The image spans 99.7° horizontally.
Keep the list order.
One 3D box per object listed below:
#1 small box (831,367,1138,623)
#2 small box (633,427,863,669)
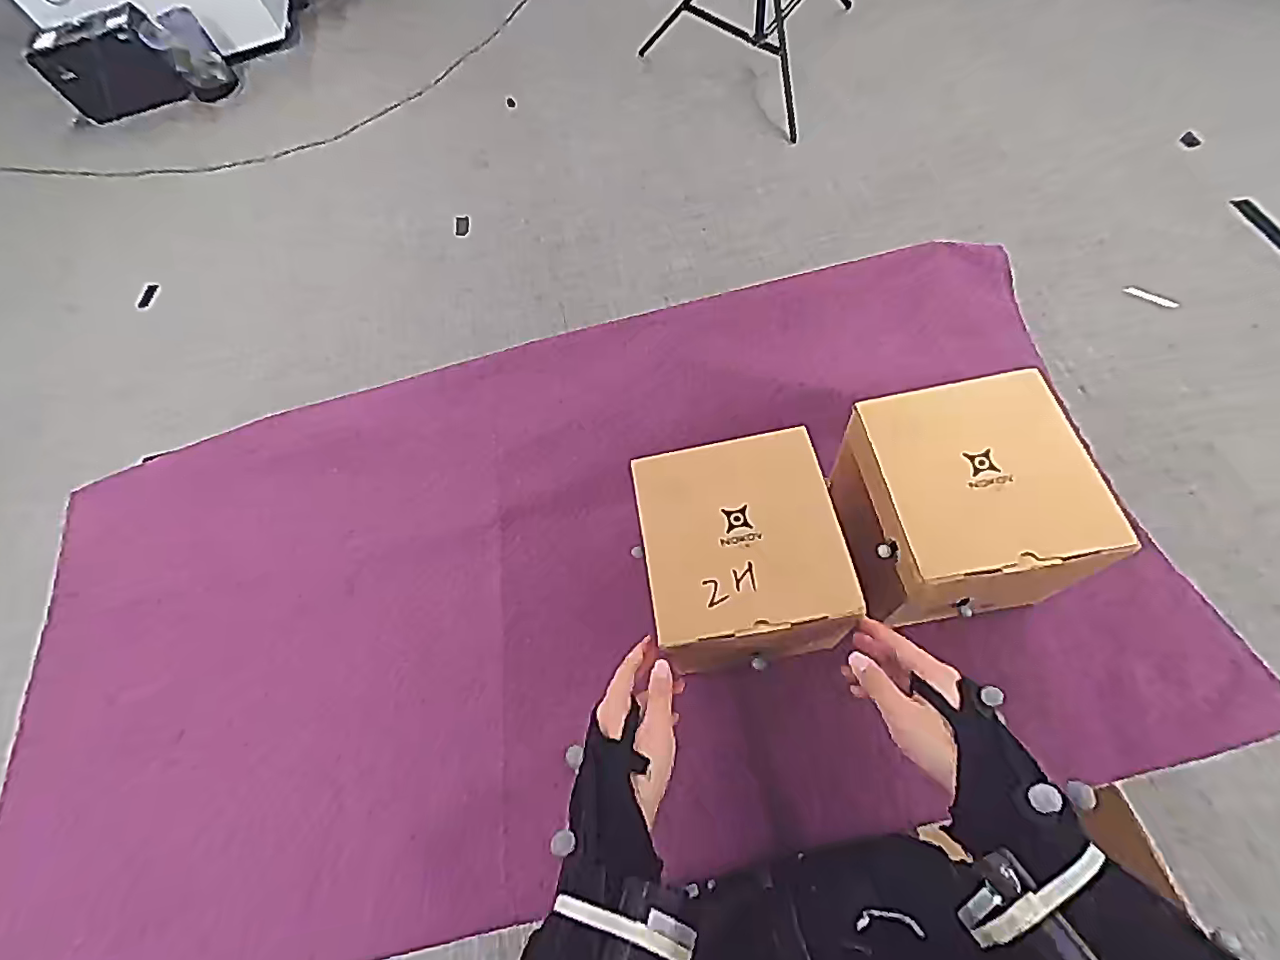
[{"bbox_3d":[0.299,0.023,0.524,0.168,0.176,0.179,-12,62,4],"label":"small box"},{"bbox_3d":[0.094,0.075,0.534,0.168,0.176,0.179,-11,63,4],"label":"small box"}]
